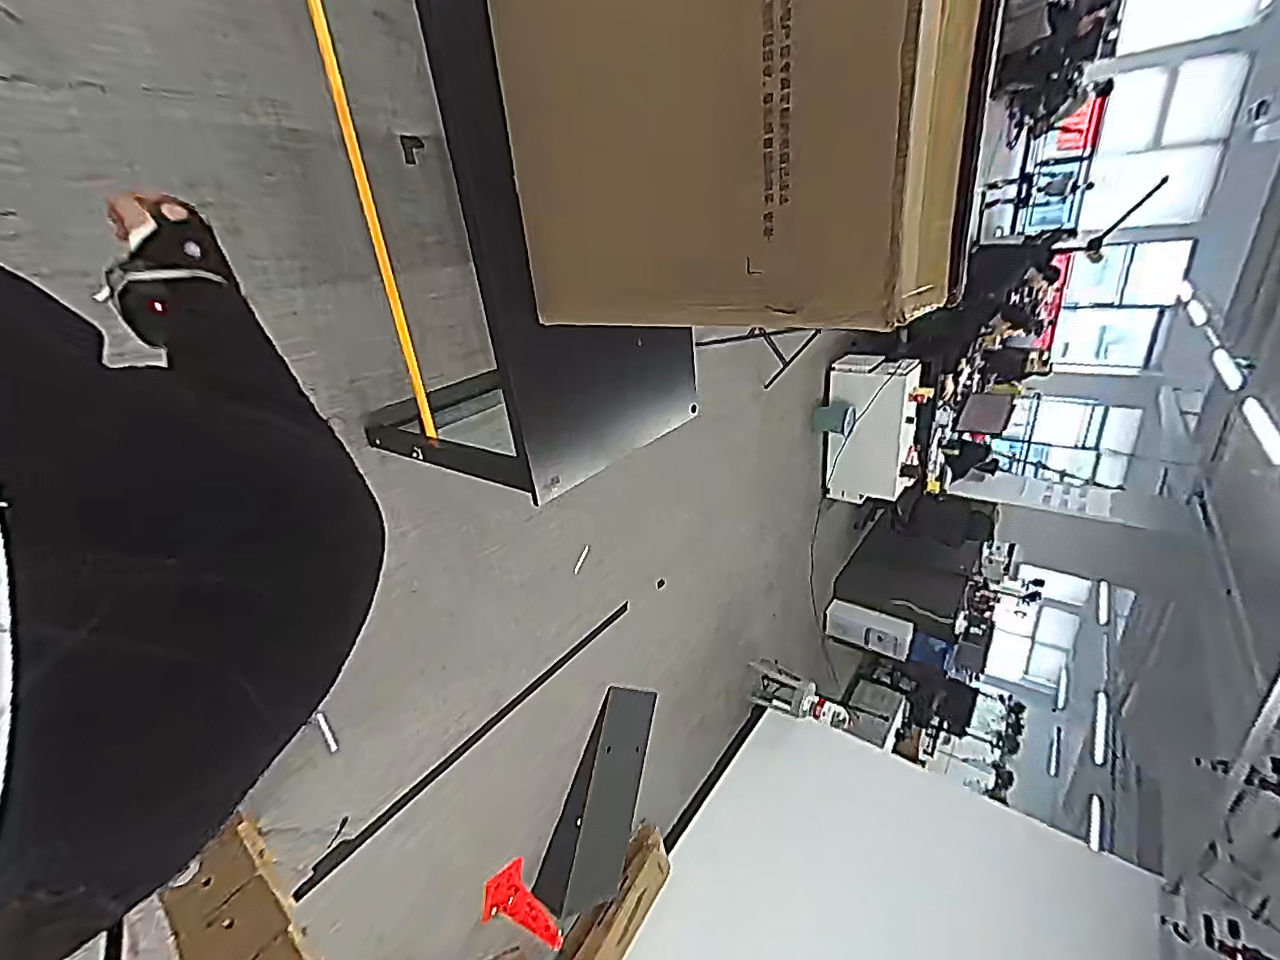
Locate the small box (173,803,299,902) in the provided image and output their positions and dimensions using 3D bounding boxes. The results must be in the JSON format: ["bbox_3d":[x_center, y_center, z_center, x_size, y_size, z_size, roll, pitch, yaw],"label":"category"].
[{"bbox_3d":[-0.984,0.937,1.321,0.168,0.176,0.179,-40,130,-40],"label":"small box"}]

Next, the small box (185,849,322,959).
[{"bbox_3d":[-0.866,0.975,1.212,0.168,0.176,0.179,-41,131,-40],"label":"small box"}]

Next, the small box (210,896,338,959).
[{"bbox_3d":[-0.740,1.014,1.111,0.168,0.176,0.179,-36,128,-43],"label":"small box"}]
